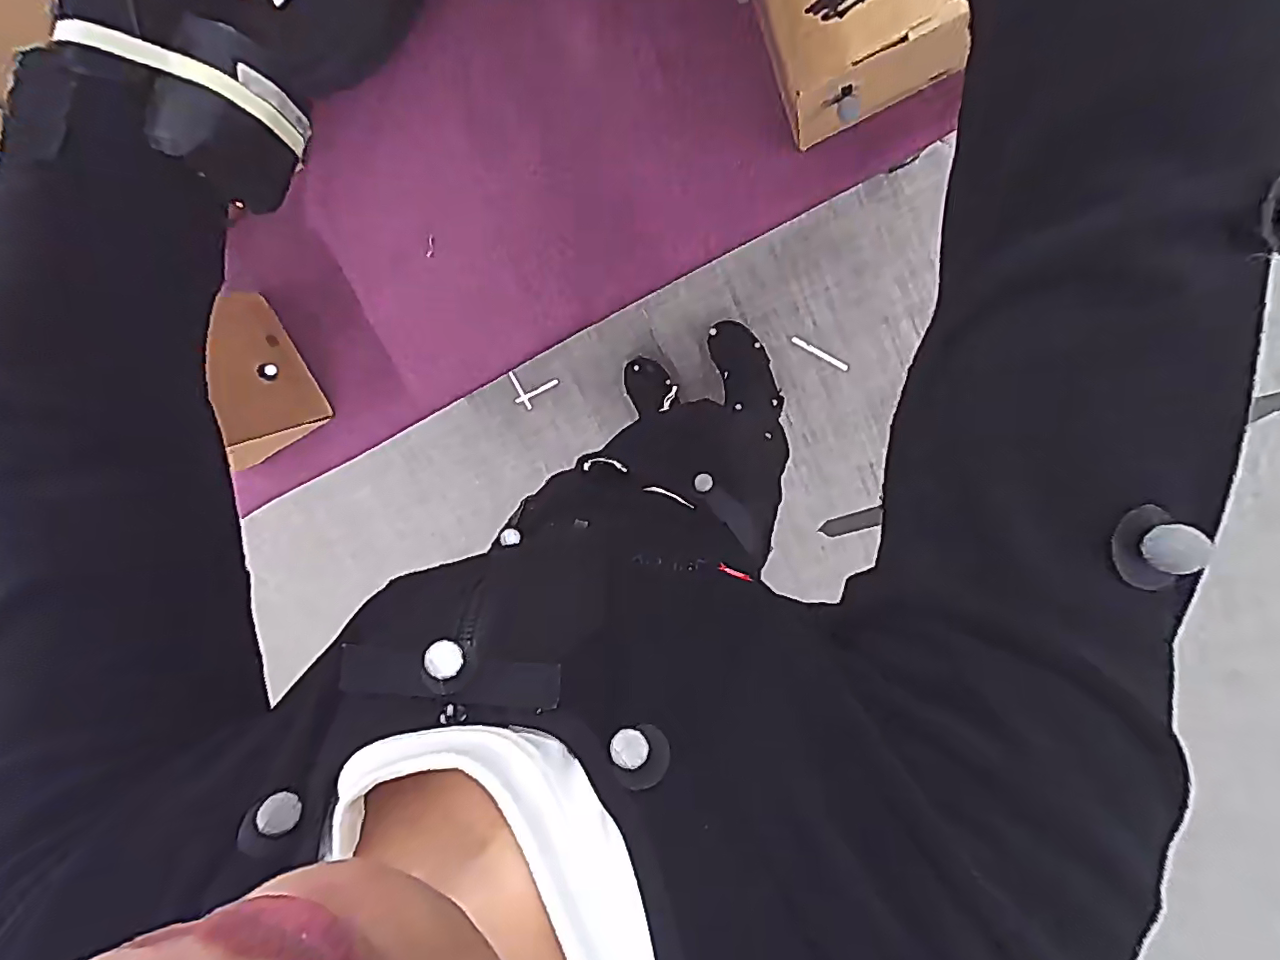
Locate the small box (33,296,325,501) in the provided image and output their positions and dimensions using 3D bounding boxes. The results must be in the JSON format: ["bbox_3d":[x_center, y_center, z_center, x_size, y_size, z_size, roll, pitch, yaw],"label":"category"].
[{"bbox_3d":[-0.522,-0.100,0.634,0.179,0.176,0.168,-22,102,22],"label":"small box"}]

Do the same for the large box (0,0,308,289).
[{"bbox_3d":[-0.603,-0.417,0.455,0.320,0.320,0.408,-19,107,22],"label":"large box"}]
